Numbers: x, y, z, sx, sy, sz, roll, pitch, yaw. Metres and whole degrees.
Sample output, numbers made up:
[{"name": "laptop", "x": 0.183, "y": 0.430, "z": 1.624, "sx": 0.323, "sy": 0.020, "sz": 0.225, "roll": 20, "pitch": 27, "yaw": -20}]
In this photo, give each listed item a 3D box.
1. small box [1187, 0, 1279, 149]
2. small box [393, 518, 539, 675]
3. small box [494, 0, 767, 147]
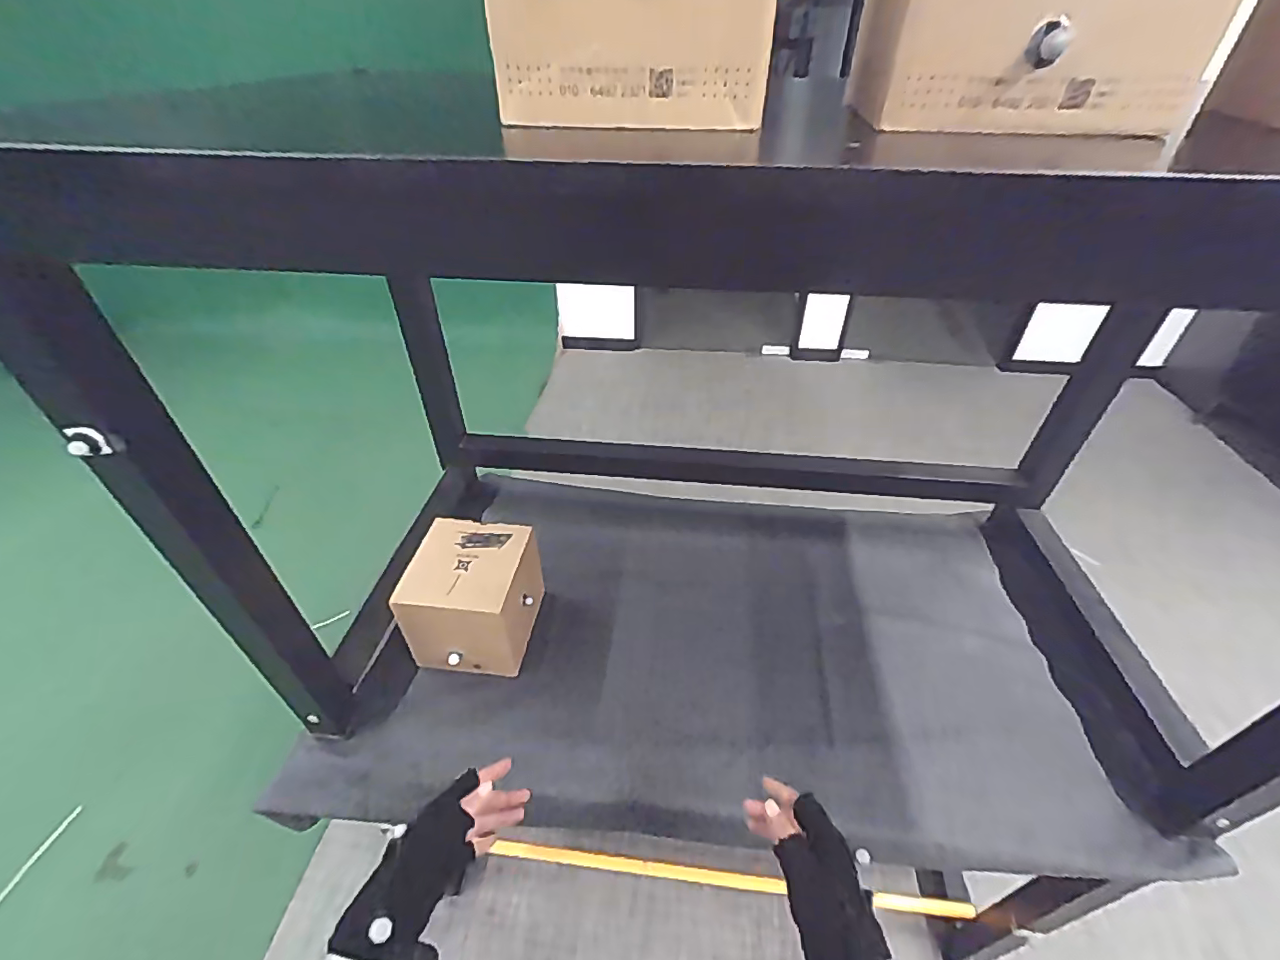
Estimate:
[{"name": "small box", "x": 0.482, "y": -0.281, "z": 0.301, "sx": 0.168, "sy": 0.176, "sz": 0.179, "roll": 12, "pitch": 40, "yaw": 14}, {"name": "small box", "x": -0.266, "y": 0.186, "z": 0.877, "sx": 0.168, "sy": 0.176, "sz": 0.179, "roll": 5, "pitch": 40, "yaw": 5}, {"name": "small box", "x": 0.002, "y": -0.336, "z": 0.370, "sx": 0.168, "sy": 0.176, "sz": 0.179, "roll": 5, "pitch": 39, "yaw": 5}]
